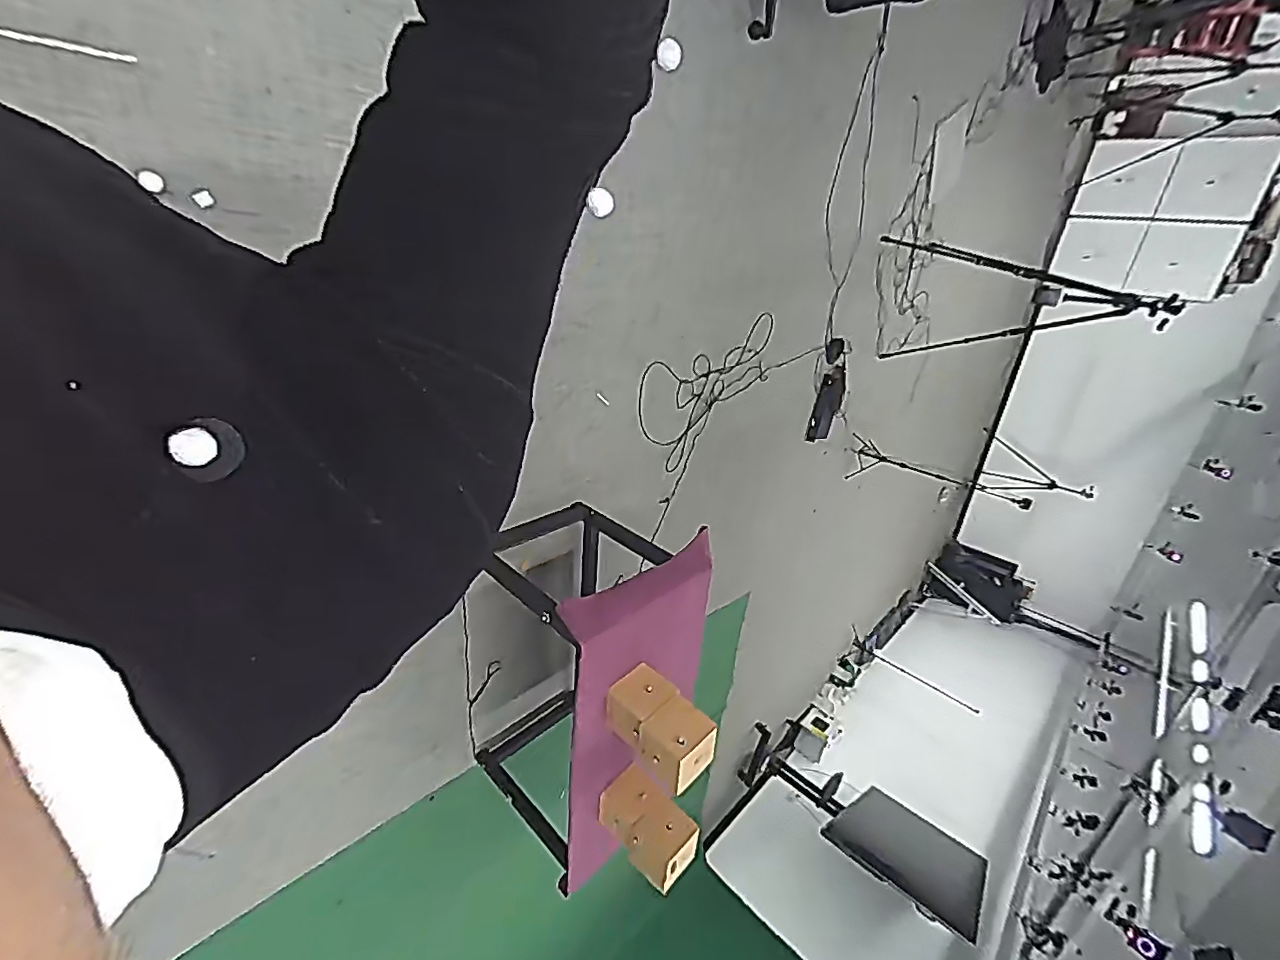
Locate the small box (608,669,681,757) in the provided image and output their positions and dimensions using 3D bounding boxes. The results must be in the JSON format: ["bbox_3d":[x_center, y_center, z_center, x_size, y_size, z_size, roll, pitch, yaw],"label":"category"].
[{"bbox_3d":[0.014,0.761,1.777,0.179,0.176,0.168,-26,127,-40],"label":"small box"}]

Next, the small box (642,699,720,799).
[{"bbox_3d":[0.122,0.820,1.665,0.179,0.176,0.168,-25,128,-41],"label":"small box"}]

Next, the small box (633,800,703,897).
[{"bbox_3d":[0.094,1.269,1.872,0.179,0.176,0.168,-20,123,-46],"label":"small box"}]

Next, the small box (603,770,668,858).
[{"bbox_3d":[-0.021,1.215,1.977,0.179,0.176,0.168,-23,125,-43],"label":"small box"}]
